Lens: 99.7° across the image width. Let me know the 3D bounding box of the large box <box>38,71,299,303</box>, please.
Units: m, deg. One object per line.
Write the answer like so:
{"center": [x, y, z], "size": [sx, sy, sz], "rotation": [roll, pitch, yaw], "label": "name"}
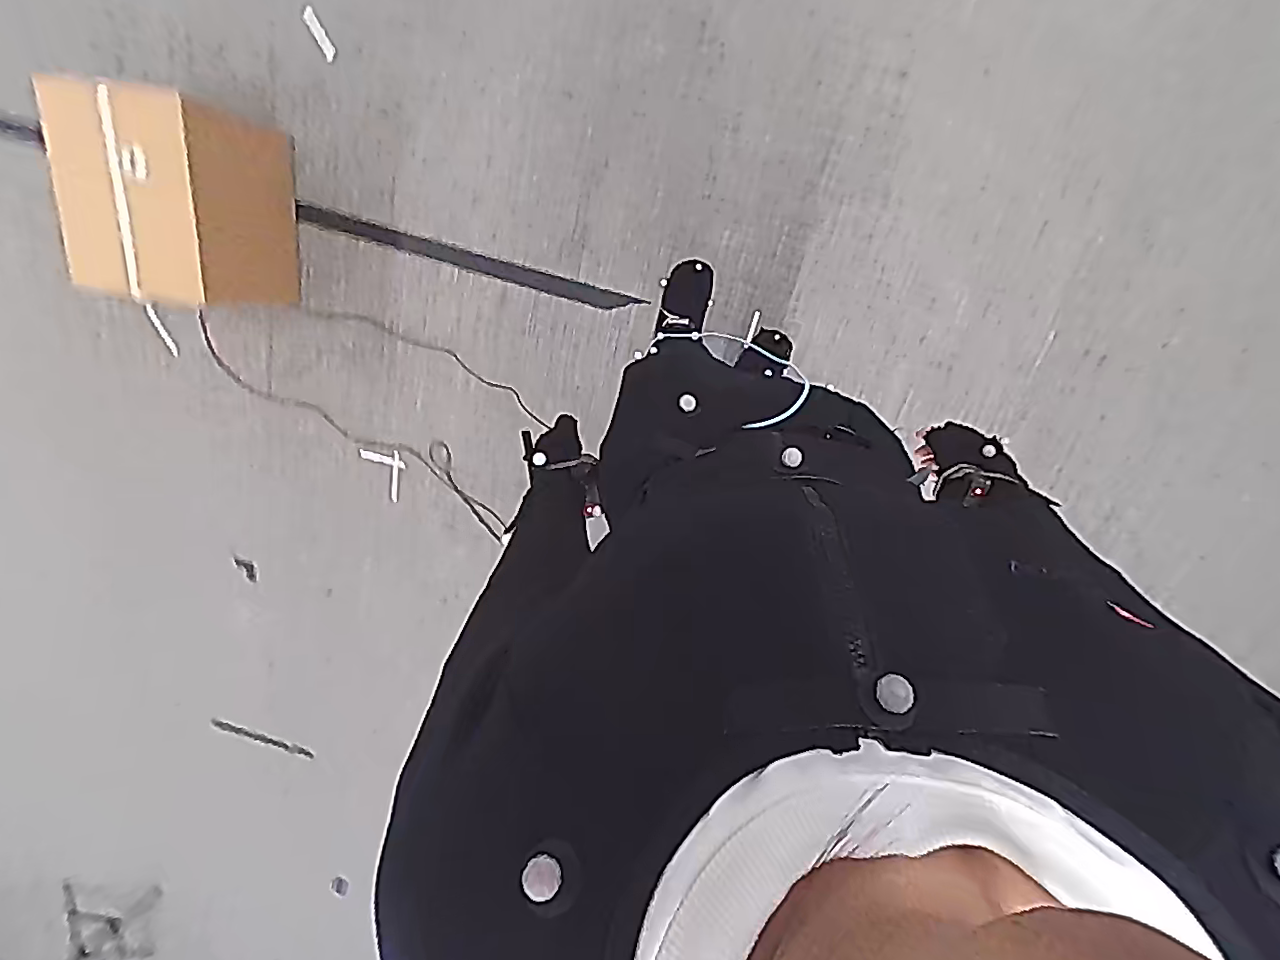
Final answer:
{"center": [-1.051, -0.641, 1.260], "size": [0.320, 0.320, 0.408], "rotation": [10, 108, 2], "label": "large box"}
